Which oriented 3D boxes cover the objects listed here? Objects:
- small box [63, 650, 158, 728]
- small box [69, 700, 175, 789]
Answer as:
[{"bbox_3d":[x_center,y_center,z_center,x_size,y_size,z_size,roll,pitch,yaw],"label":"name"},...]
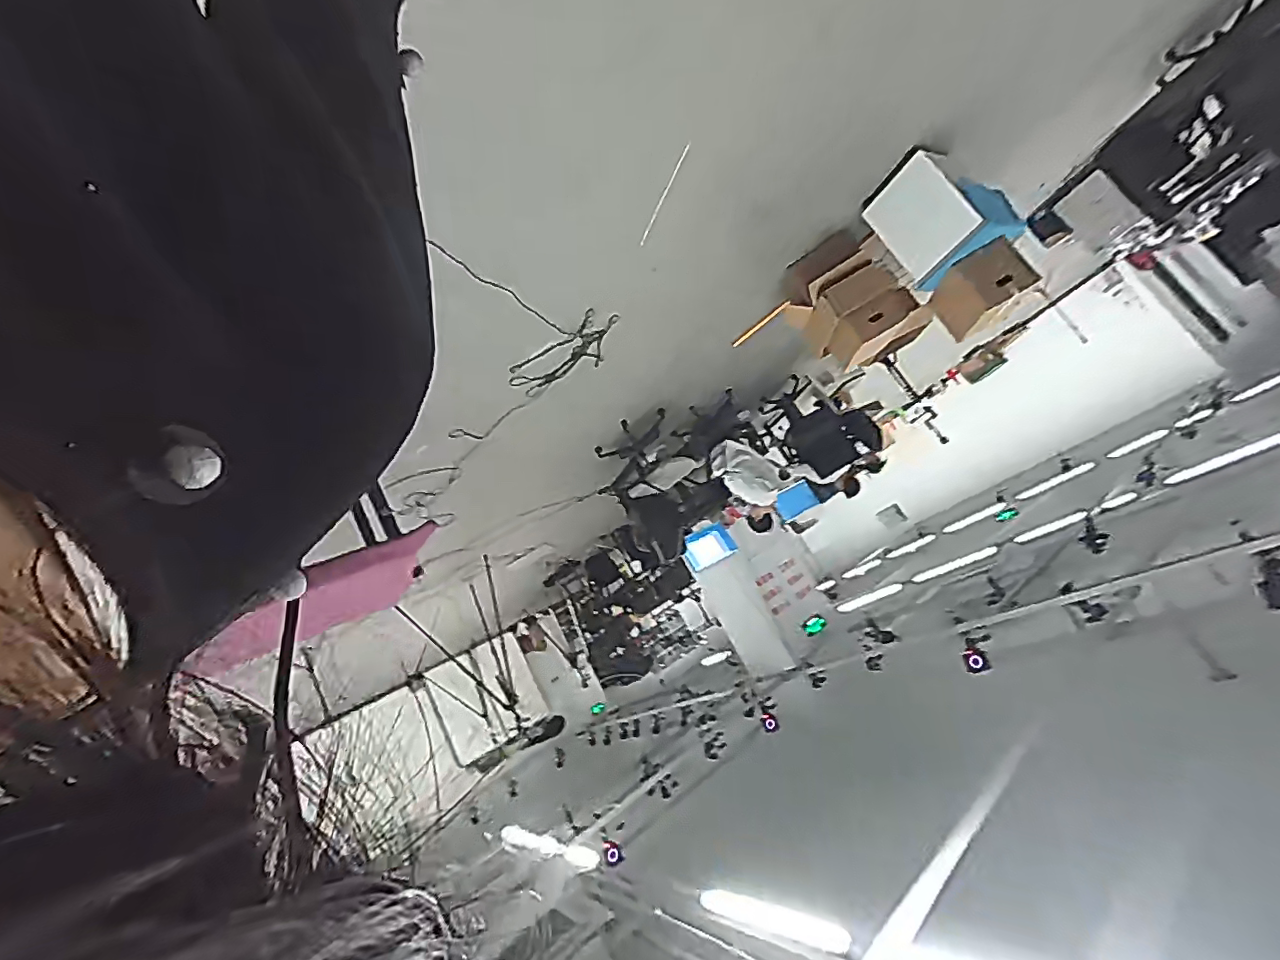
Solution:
[{"bbox_3d":[-1.599,0.643,1.634,0.179,0.176,0.168,-19,164,-45],"label":"small box"},{"bbox_3d":[-1.505,0.767,1.577,0.179,0.176,0.168,-20,164,-39],"label":"small box"}]
